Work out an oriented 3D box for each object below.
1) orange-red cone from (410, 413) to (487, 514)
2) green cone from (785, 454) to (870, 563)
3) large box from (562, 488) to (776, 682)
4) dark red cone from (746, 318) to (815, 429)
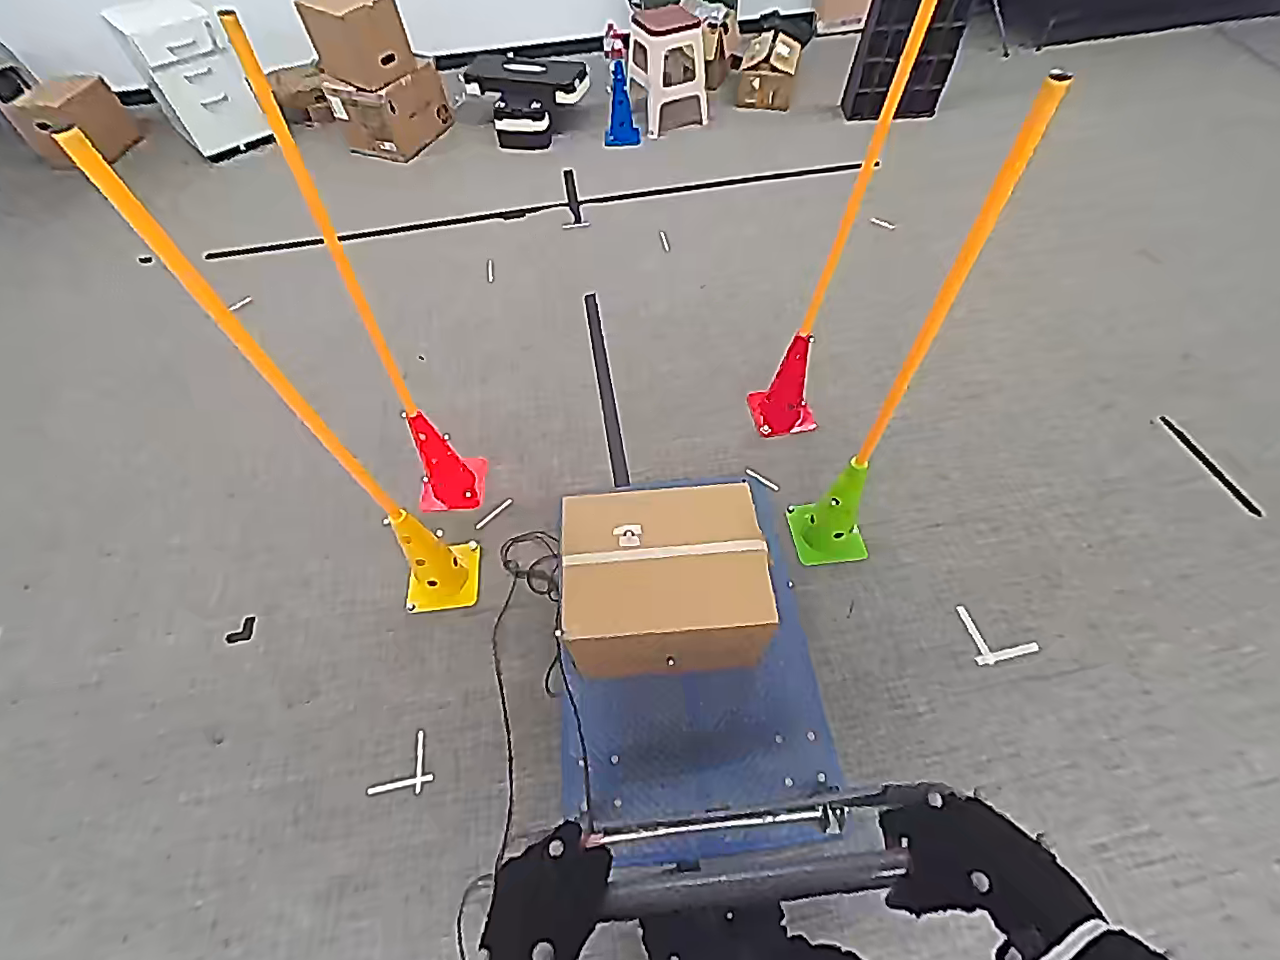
[{"bbox_3d":[-0.613,-0.072,1.635,0.198,0.360,0.199,-3,54,0],"label":"orange-red cone"},{"bbox_3d":[0.549,0.056,1.480,0.202,0.368,0.200,-6,56,-2],"label":"green cone"},{"bbox_3d":[0.053,0.245,1.206,0.408,0.320,0.320,-5,56,0],"label":"large box"},{"bbox_3d":[0.482,-0.349,1.739,0.201,0.394,0.202,-9,56,-5],"label":"dark red cone"}]
